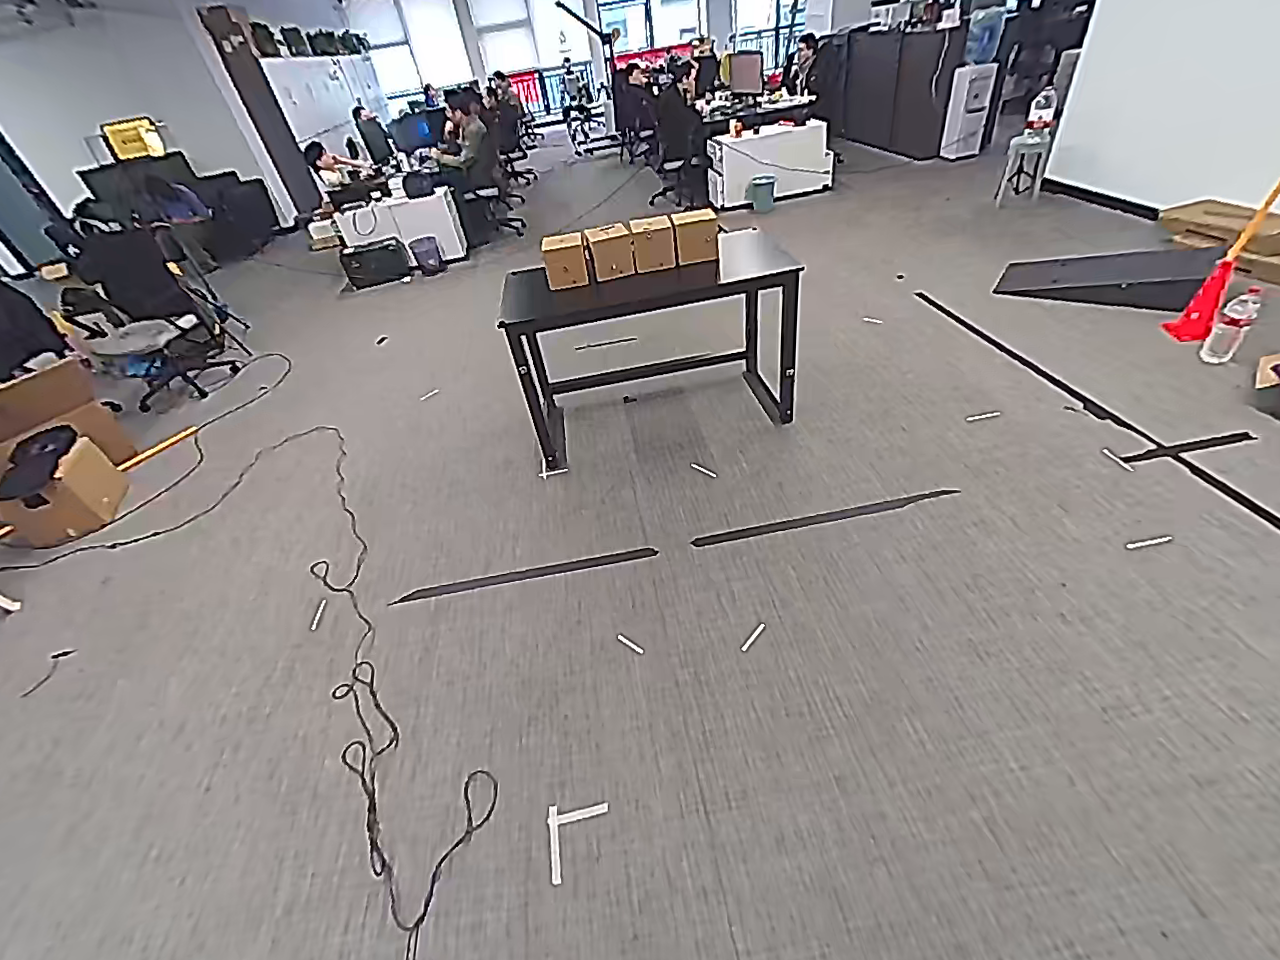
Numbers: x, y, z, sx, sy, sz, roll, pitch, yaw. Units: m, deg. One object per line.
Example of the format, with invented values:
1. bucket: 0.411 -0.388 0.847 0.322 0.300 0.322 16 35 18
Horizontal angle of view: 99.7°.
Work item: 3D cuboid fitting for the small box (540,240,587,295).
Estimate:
1. small box: -0.320 -0.903 2.306 0.168 0.176 0.179 -9 39 1
